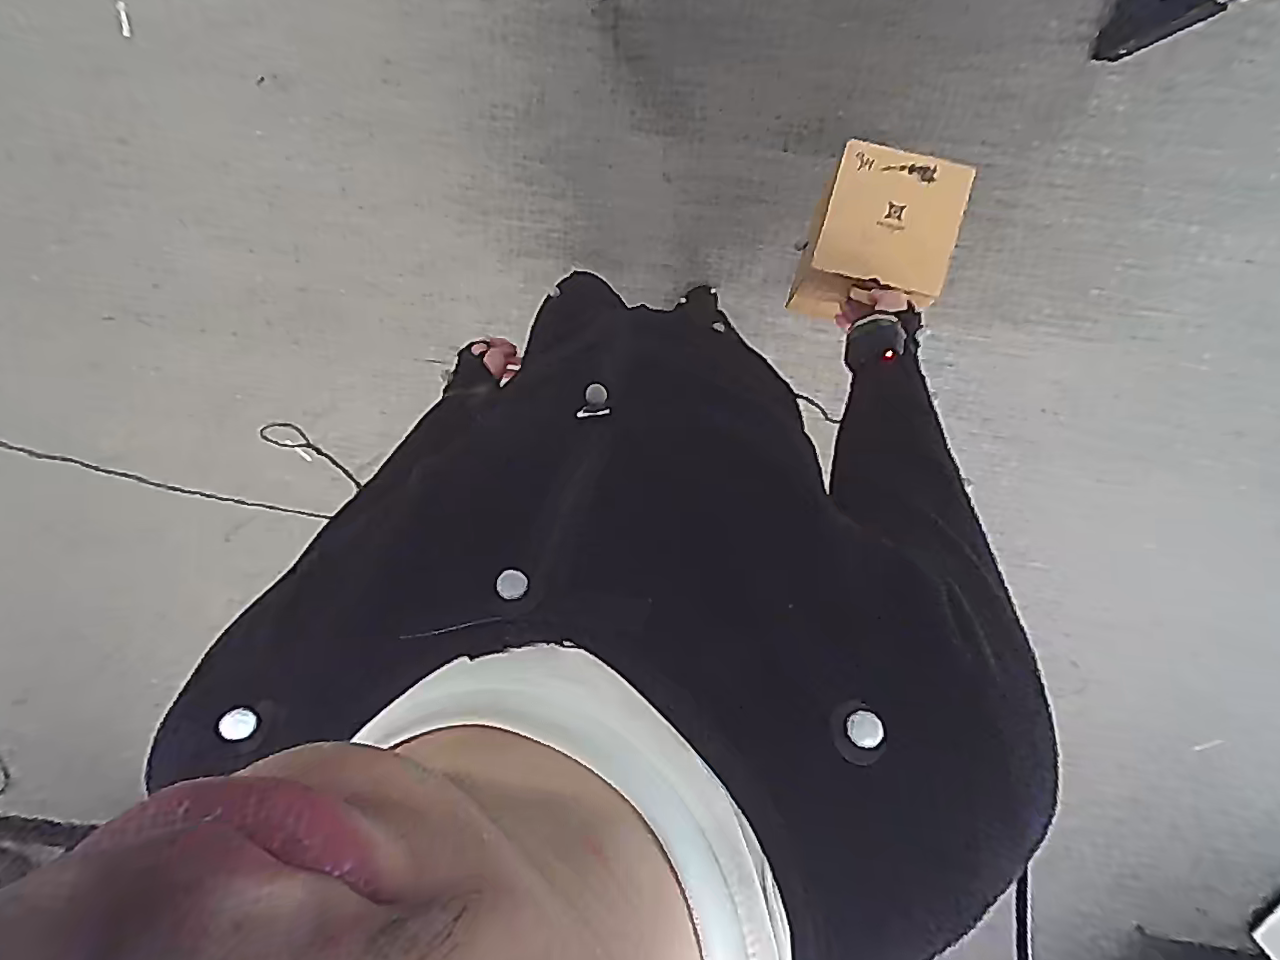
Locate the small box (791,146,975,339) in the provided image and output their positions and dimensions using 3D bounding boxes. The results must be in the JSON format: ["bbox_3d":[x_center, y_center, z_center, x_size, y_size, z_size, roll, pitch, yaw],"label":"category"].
[{"bbox_3d":[0.325,-0.319,0.764,0.168,0.176,0.179,18,90,4],"label":"small box"}]
